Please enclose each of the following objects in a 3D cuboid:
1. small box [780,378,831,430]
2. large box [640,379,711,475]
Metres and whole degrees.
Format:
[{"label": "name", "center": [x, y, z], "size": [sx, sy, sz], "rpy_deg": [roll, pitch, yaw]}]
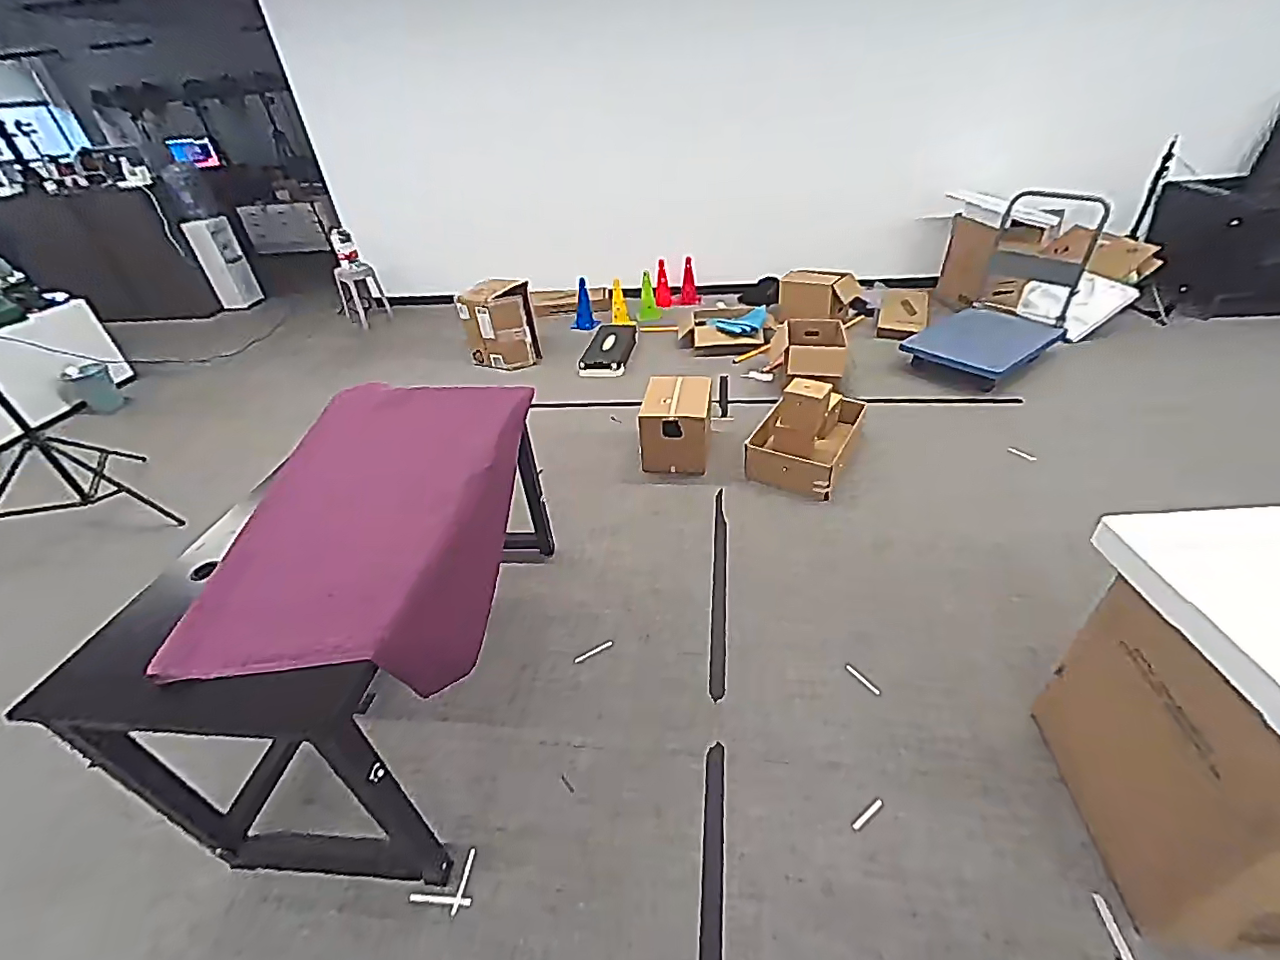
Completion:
[{"label": "small box", "center": [0.752, -0.344, 2.466], "size": [0.179, 0.176, 0.168], "rpy_deg": [18, 40, 27]}, {"label": "large box", "center": [0.186, -0.266, 2.671], "size": [0.320, 0.320, 0.408], "rpy_deg": [1, 38, 10]}]
